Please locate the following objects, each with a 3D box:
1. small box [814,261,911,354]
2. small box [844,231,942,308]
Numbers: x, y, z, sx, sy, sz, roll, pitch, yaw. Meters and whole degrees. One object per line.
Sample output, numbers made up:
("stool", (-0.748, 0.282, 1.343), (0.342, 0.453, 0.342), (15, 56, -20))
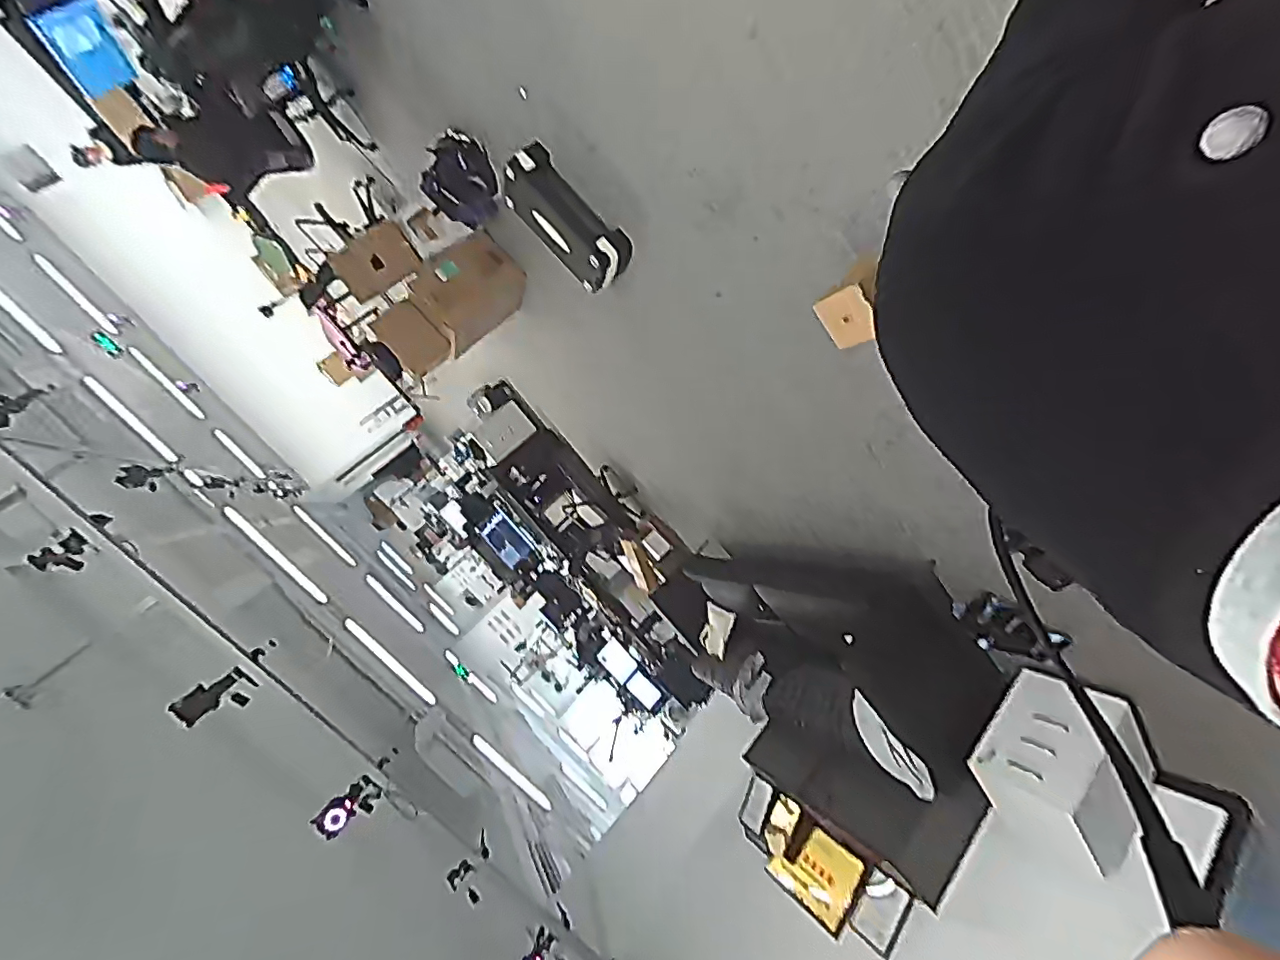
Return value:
("small box", (0.653, -0.501, 1.573), (0.168, 0.176, 0.179), (51, 161, -12))
("small box", (0.762, -0.608, 1.627), (0.168, 0.176, 0.179), (50, 160, -14))
